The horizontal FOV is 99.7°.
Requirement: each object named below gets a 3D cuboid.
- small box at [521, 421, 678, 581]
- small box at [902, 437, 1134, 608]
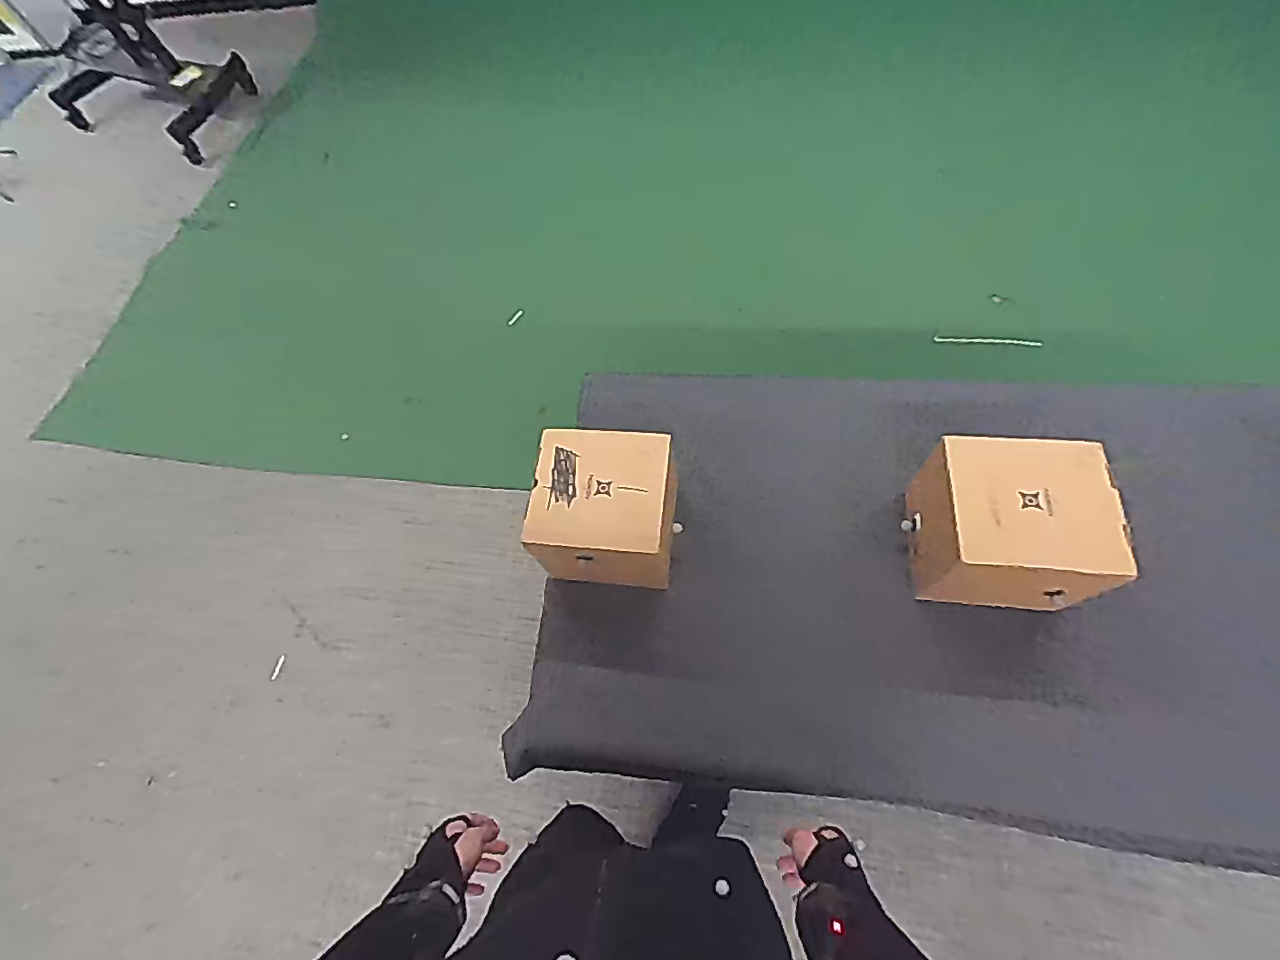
[{"bbox_3d":[-0.043,0.035,0.747,0.179,0.176,0.168,5,66,7],"label":"small box"},{"bbox_3d":[0.458,0.061,0.688,0.179,0.176,0.168,3,65,9],"label":"small box"}]
